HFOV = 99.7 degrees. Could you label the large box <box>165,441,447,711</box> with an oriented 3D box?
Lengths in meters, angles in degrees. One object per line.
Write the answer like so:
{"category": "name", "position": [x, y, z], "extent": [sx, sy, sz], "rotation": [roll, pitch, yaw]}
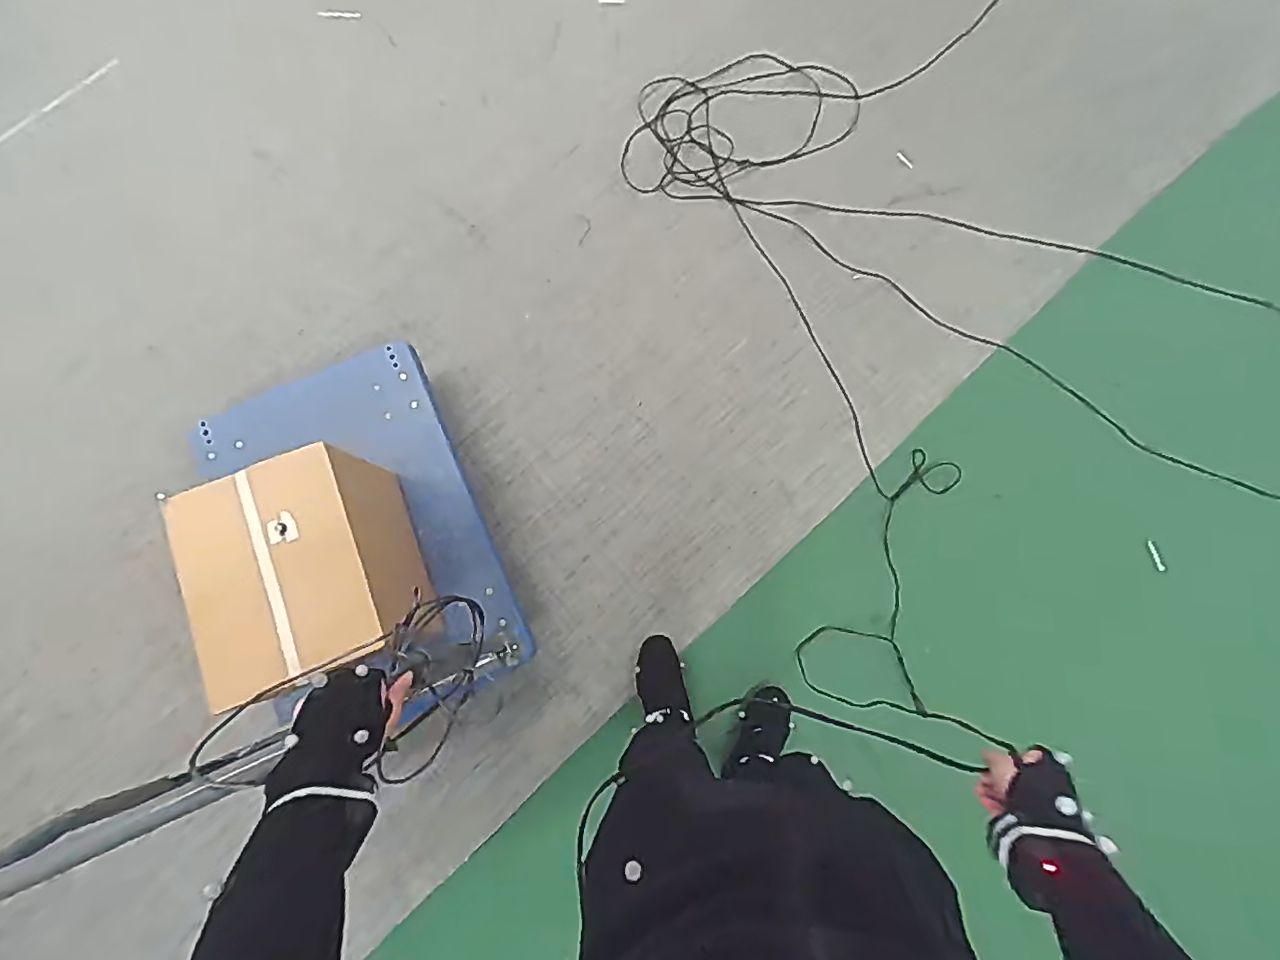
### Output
{"category": "large box", "position": [-0.649, 0.189, 1.106], "extent": [0.320, 0.320, 0.408], "rotation": [-21, 80, -5]}
